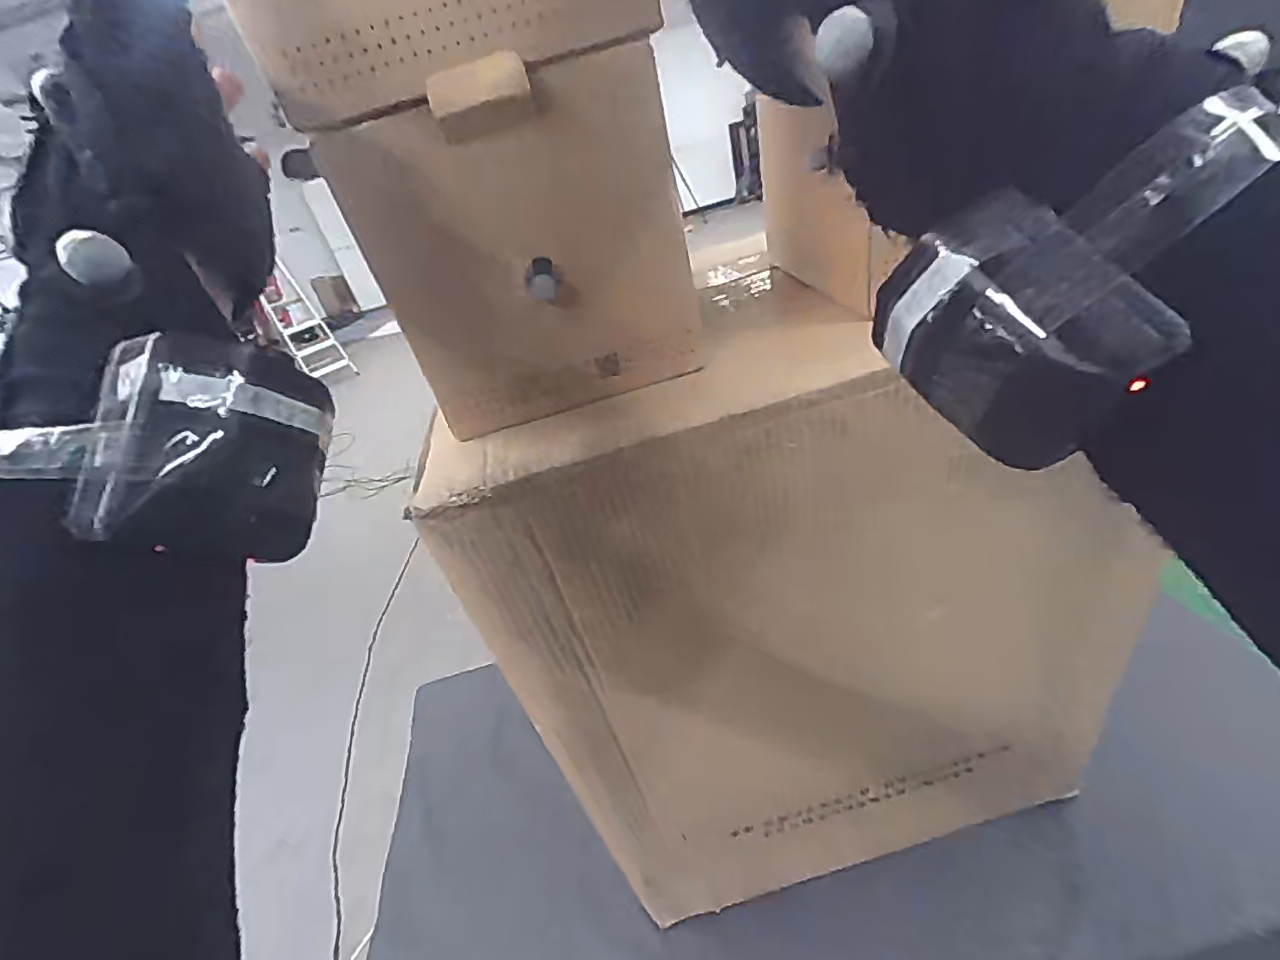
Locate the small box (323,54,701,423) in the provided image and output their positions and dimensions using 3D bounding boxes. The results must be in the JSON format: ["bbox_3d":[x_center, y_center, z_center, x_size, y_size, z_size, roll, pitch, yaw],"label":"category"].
[{"bbox_3d":[-0.066,-0.154,0.363,0.168,0.176,0.179,-16,35,-2],"label":"small box"}]

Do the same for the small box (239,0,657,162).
[{"bbox_3d":[-0.096,-0.270,0.275,0.179,0.176,0.168,-17,34,-2],"label":"small box"}]

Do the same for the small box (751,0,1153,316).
[{"bbox_3d":[0.188,-0.224,0.369,0.168,0.176,0.179,-15,33,-3],"label":"small box"}]
